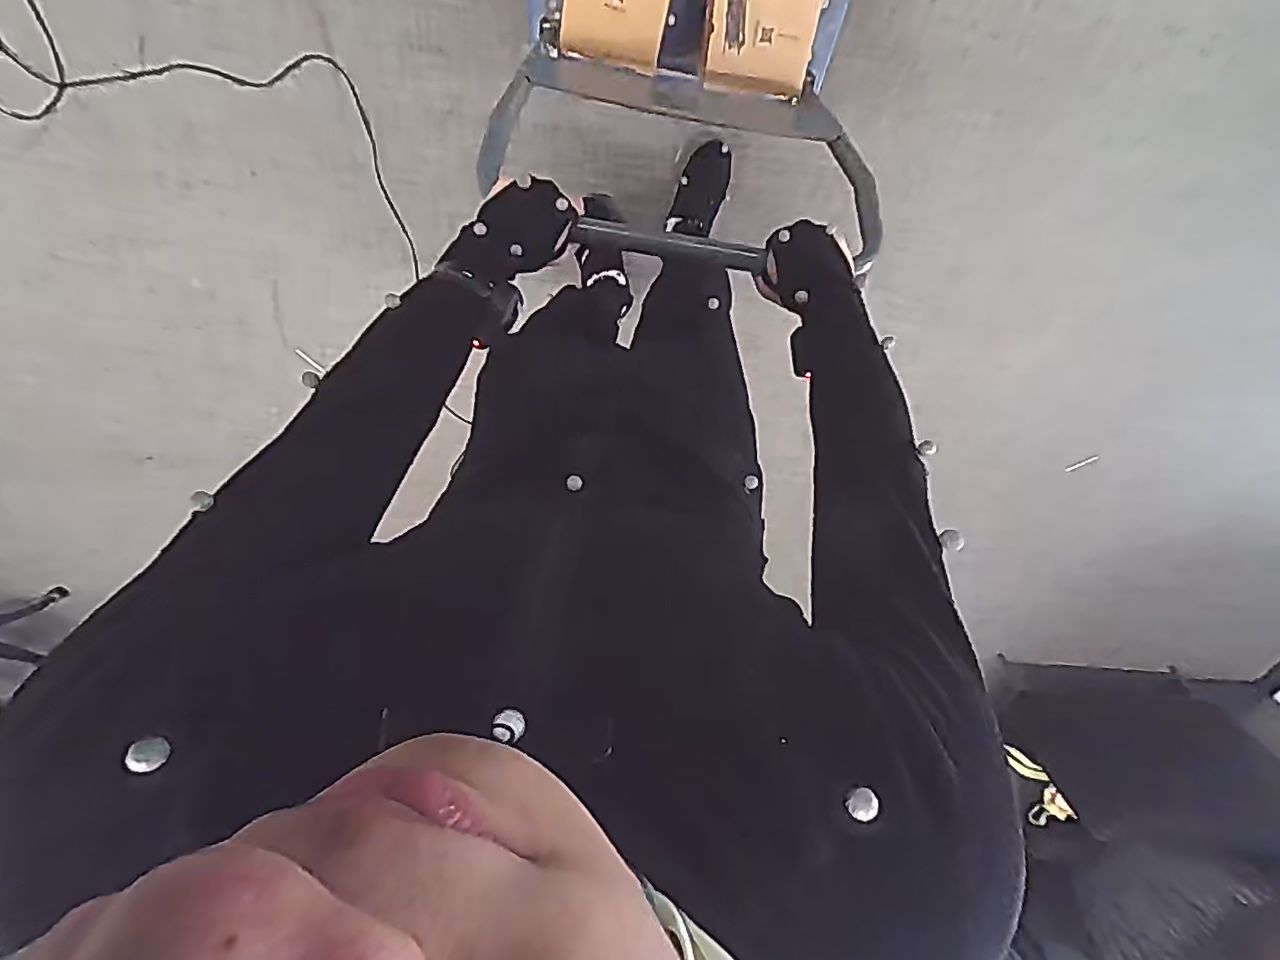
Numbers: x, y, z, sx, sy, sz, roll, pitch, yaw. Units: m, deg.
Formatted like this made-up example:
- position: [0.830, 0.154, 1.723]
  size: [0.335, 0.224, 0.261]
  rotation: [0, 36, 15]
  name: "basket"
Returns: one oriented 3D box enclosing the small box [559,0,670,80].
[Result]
- position: [-0.038, -0.818, 0.911]
  size: [0.168, 0.176, 0.179]
  rotation: [10, 136, -10]
  name: "small box"
